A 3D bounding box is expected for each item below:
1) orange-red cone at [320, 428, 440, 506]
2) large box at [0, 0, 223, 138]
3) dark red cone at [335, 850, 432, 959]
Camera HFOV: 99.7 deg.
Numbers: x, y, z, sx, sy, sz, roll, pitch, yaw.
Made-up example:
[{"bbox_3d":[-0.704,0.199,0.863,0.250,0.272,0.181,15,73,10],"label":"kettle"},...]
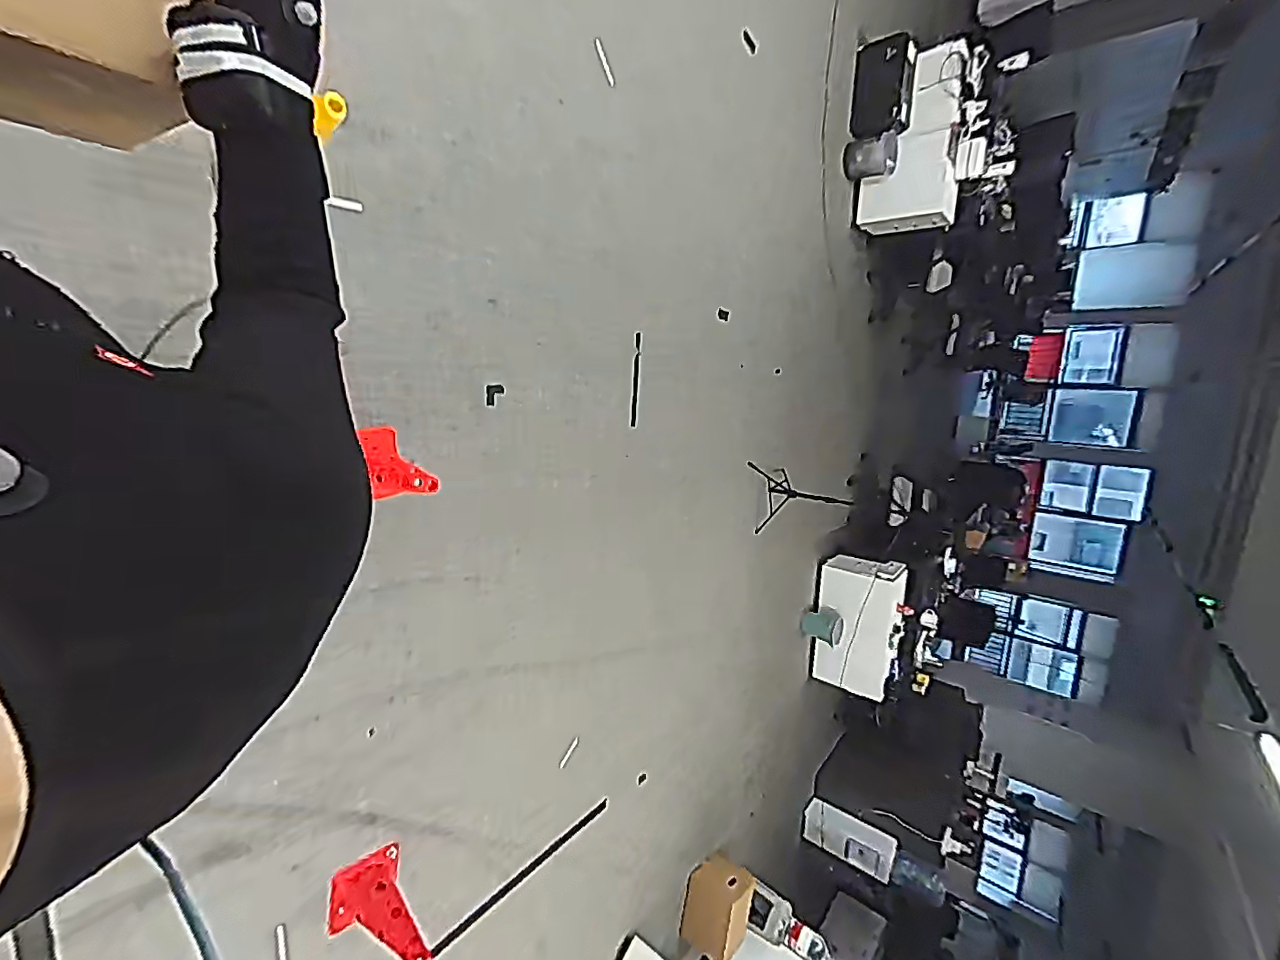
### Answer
[{"bbox_3d":[-0.620,-0.016,1.361,0.198,0.360,0.199,-15,108,-50],"label":"orange-red cone"},{"bbox_3d":[-0.529,-0.438,0.289,0.408,0.320,0.320,-12,114,-52],"label":"large box"},{"bbox_3d":[-0.688,1.271,1.528,0.201,0.394,0.202,-2,99,-51],"label":"dark red cone"}]
